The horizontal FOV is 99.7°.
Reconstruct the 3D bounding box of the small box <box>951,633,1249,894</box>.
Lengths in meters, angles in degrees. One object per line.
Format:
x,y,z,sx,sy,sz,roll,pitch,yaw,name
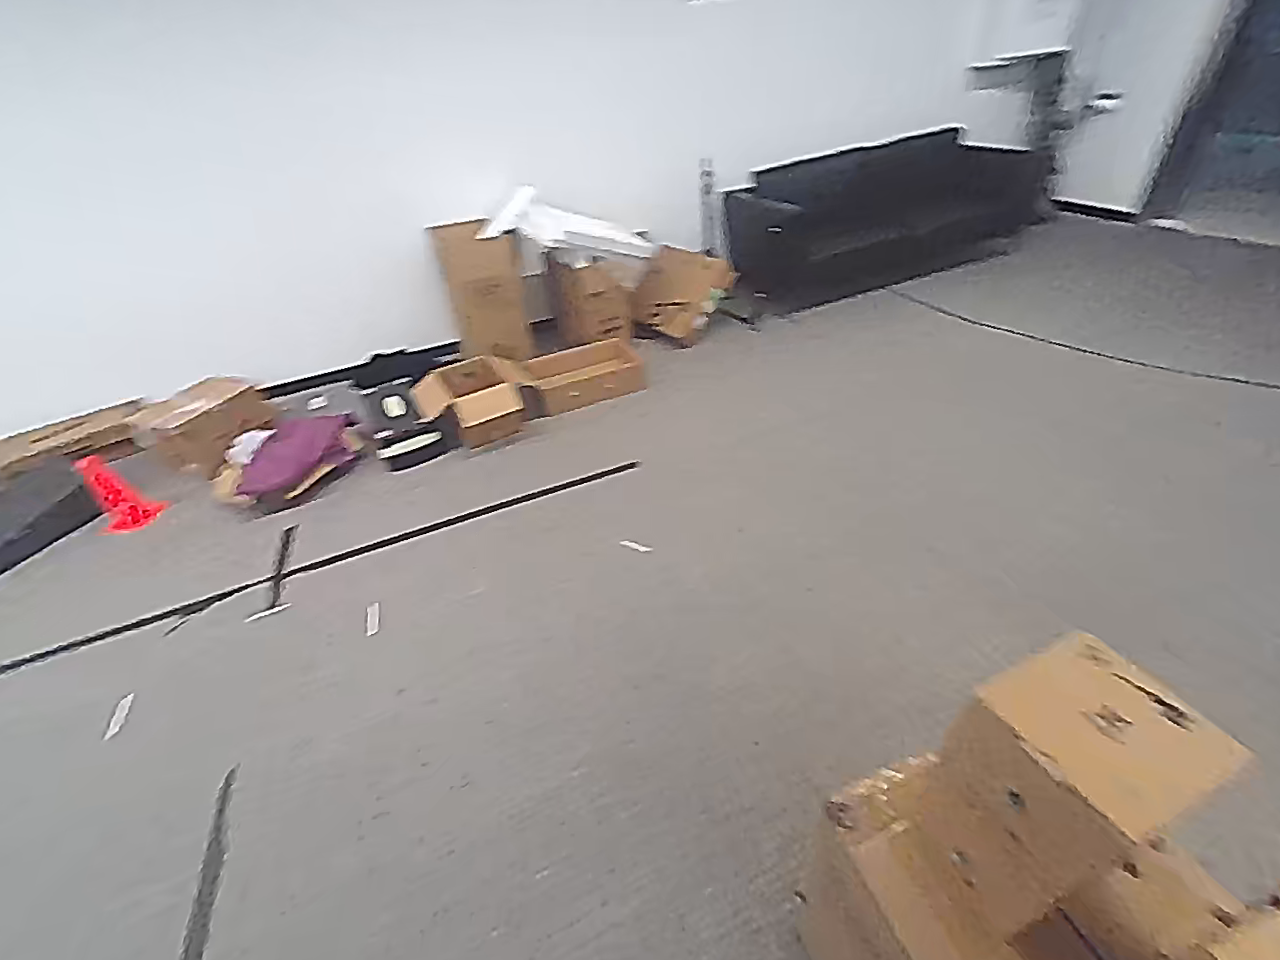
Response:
0.480,0.312,0.600,0.179,0.176,0.168,-19,39,-14,small box

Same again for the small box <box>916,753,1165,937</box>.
0.495,0.442,0.700,0.179,0.176,0.168,-18,39,-13,small box
